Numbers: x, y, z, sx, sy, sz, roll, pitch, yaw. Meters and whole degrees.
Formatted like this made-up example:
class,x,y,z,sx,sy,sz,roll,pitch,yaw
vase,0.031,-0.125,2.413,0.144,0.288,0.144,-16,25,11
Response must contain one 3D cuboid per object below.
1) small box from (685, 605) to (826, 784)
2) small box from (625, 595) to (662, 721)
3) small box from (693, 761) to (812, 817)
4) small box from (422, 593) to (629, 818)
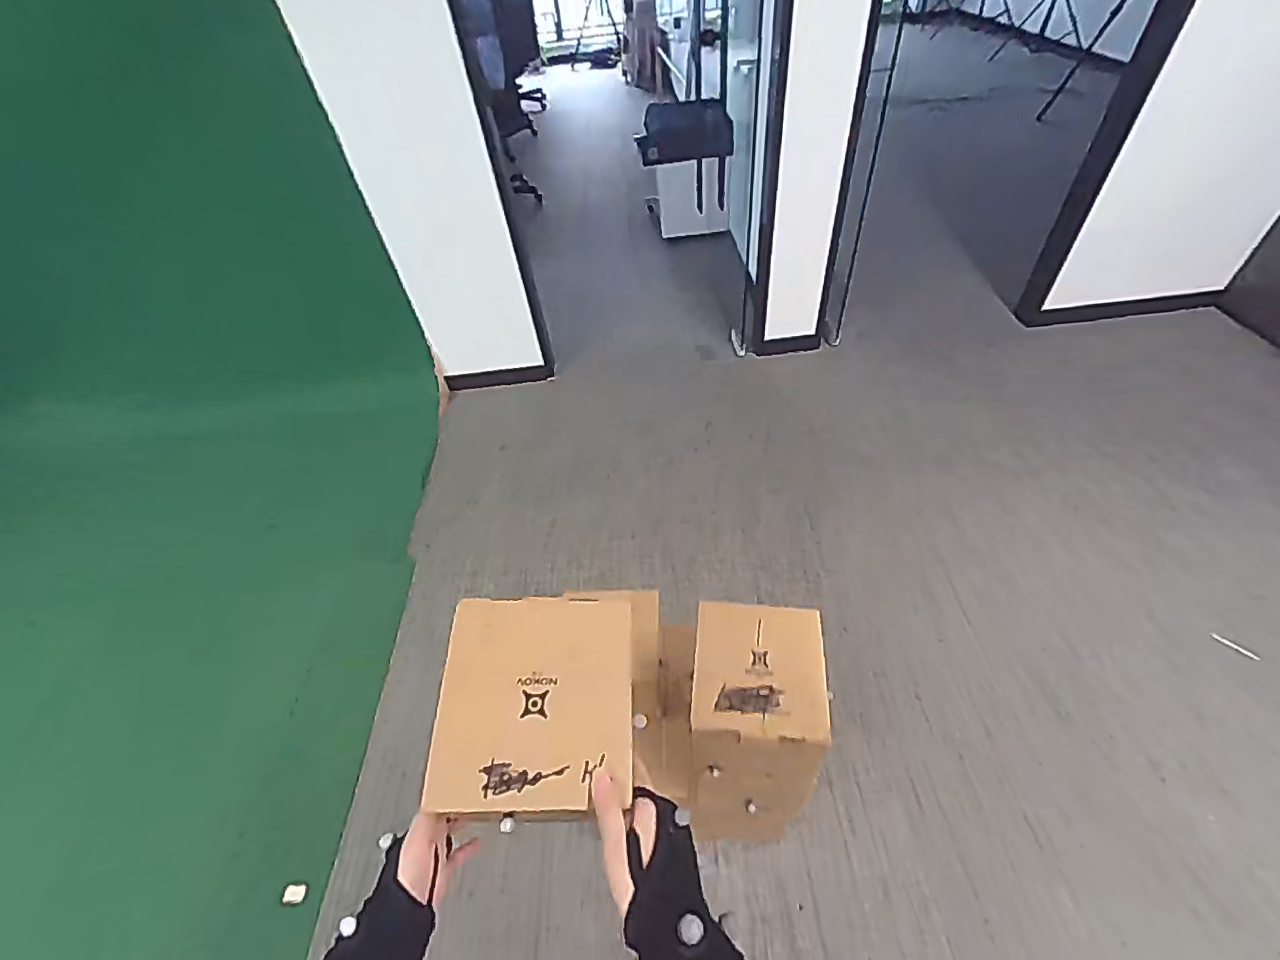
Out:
class,x,y,z,sx,sy,sz,roll,pitch,yaw
small box,0.154,0.296,0.746,0.168,0.176,0.179,2,45,9
small box,-0.051,0.322,0.971,0.179,0.176,0.168,-3,46,5
small box,0.169,0.412,0.862,0.168,0.176,0.179,-1,46,7
small box,-0.095,0.228,0.541,0.168,0.176,0.179,0,54,-1
